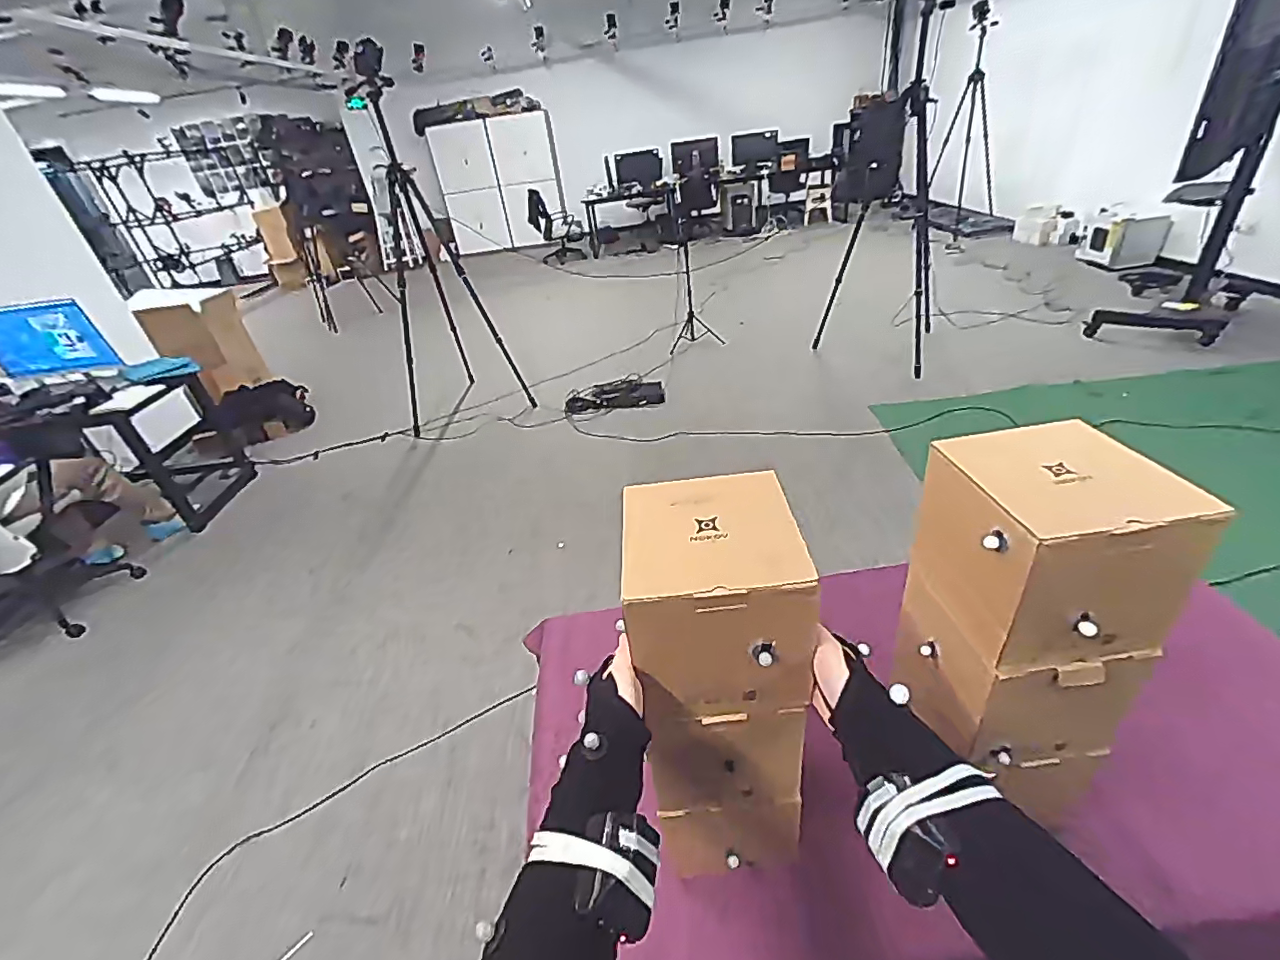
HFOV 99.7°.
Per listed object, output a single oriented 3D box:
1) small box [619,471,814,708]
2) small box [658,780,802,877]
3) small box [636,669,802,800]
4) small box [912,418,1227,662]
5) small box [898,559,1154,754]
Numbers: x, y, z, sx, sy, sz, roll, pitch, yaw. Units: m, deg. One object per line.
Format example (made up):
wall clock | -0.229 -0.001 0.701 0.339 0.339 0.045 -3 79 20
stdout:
small box | 0.074 0.114 0.556 0.168 0.176 0.179 -7 32 3
small box | 0.109 0.392 0.727 0.168 0.176 0.179 -9 33 2
small box | 0.086 0.253 0.641 0.168 0.176 0.179 -8 33 1
small box | 0.409 0.057 0.560 0.168 0.176 0.179 -9 33 0
small box | 0.430 0.198 0.640 0.168 0.176 0.179 -9 31 1
